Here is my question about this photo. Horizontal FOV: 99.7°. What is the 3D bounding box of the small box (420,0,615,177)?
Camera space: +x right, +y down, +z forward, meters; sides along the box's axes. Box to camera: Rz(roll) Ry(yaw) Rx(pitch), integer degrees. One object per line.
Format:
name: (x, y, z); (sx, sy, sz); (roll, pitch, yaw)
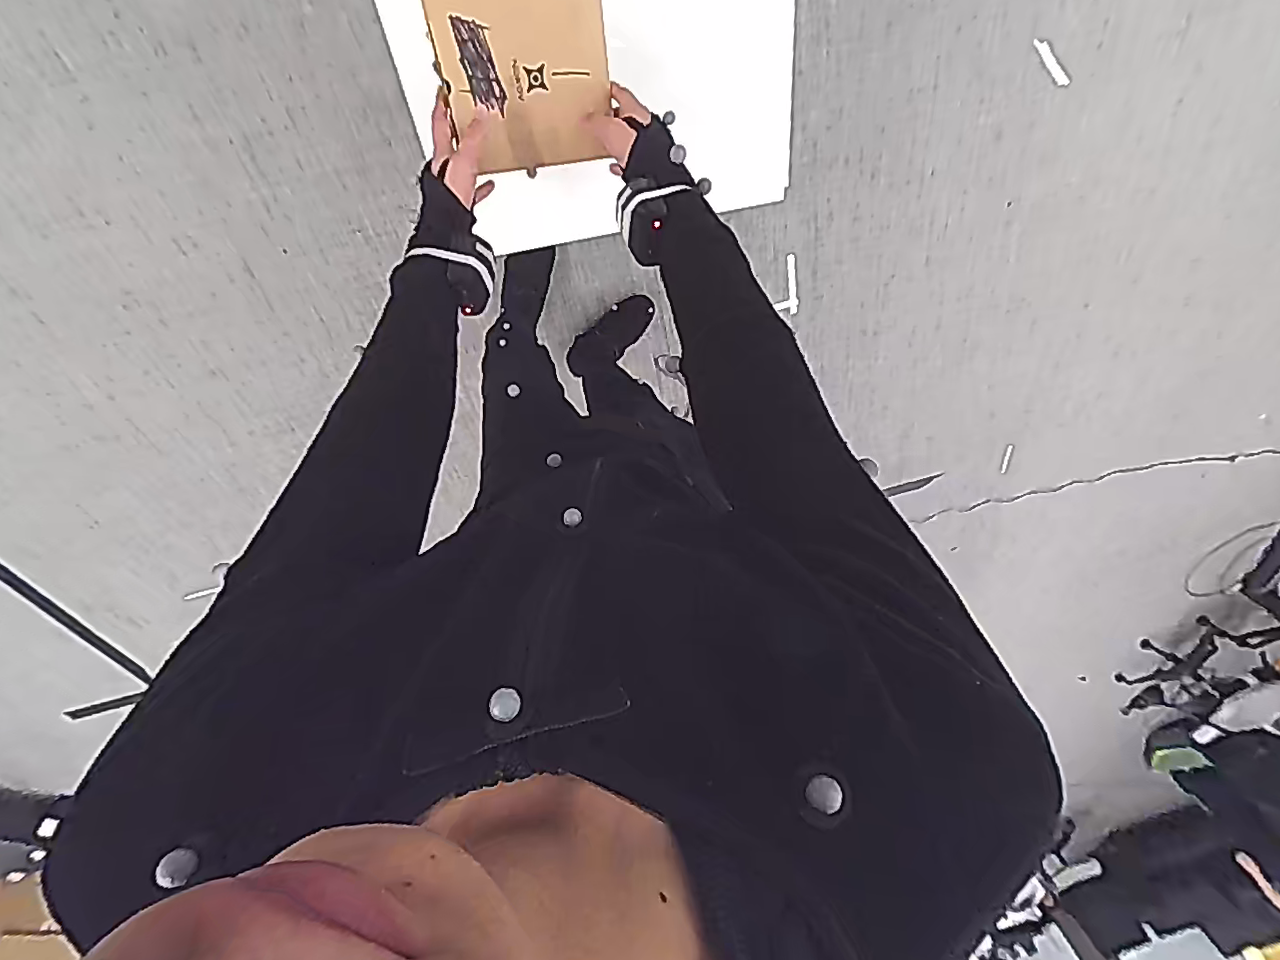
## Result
small box: (-0.134, -0.462, 0.628); (0.179, 0.176, 0.168); (-11, 127, -7)
